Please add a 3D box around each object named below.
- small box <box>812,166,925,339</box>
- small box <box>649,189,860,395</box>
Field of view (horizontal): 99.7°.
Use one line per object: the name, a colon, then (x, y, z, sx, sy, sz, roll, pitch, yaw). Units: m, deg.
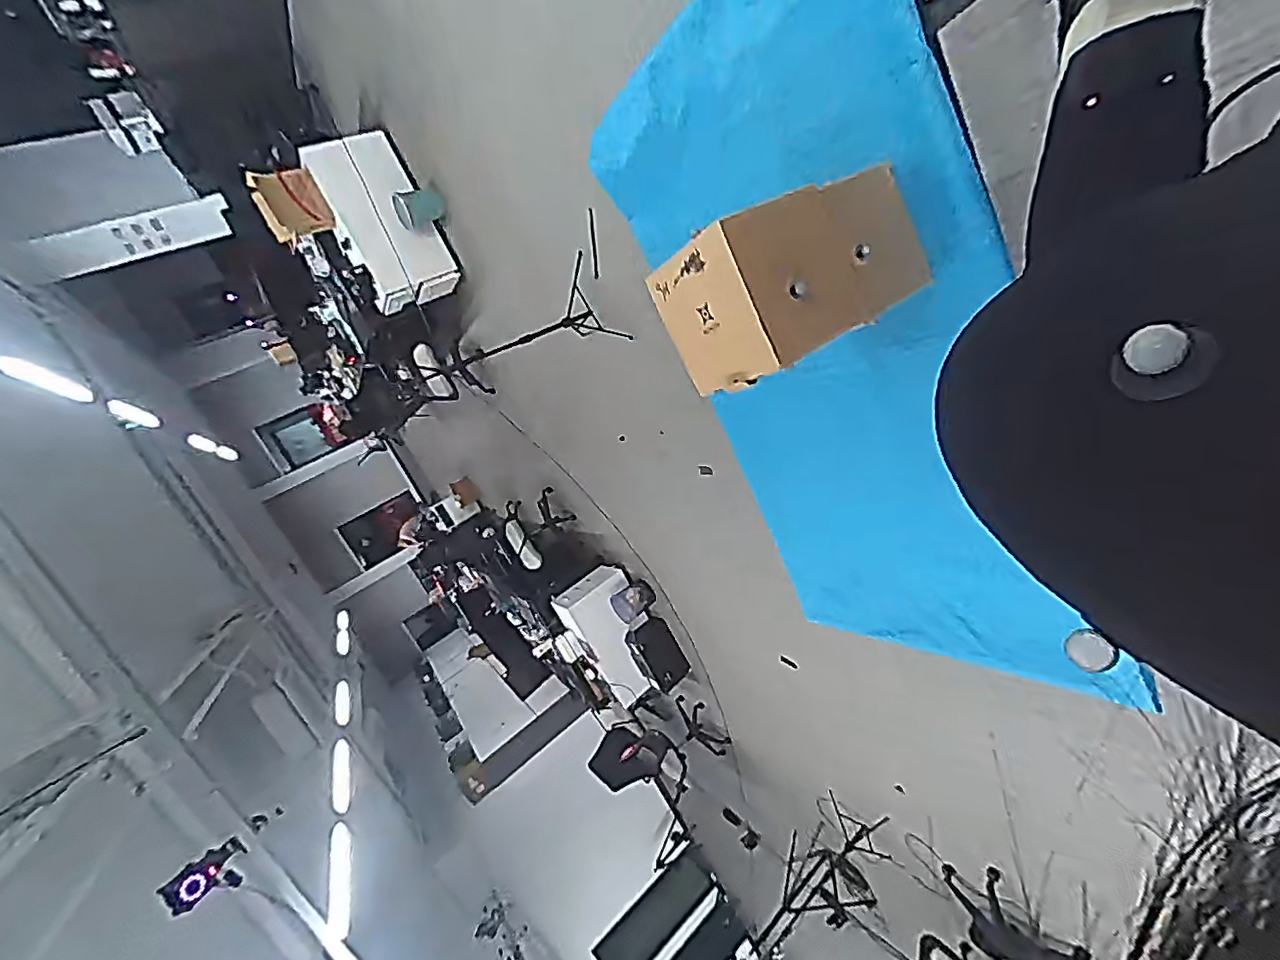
small box: (0.272, -0.310, 0.776, 0.168, 0.176, 0.179, -4, 116, 62)
small box: (0.148, -0.237, 0.700, 0.179, 0.176, 0.168, 62, 155, -8)
